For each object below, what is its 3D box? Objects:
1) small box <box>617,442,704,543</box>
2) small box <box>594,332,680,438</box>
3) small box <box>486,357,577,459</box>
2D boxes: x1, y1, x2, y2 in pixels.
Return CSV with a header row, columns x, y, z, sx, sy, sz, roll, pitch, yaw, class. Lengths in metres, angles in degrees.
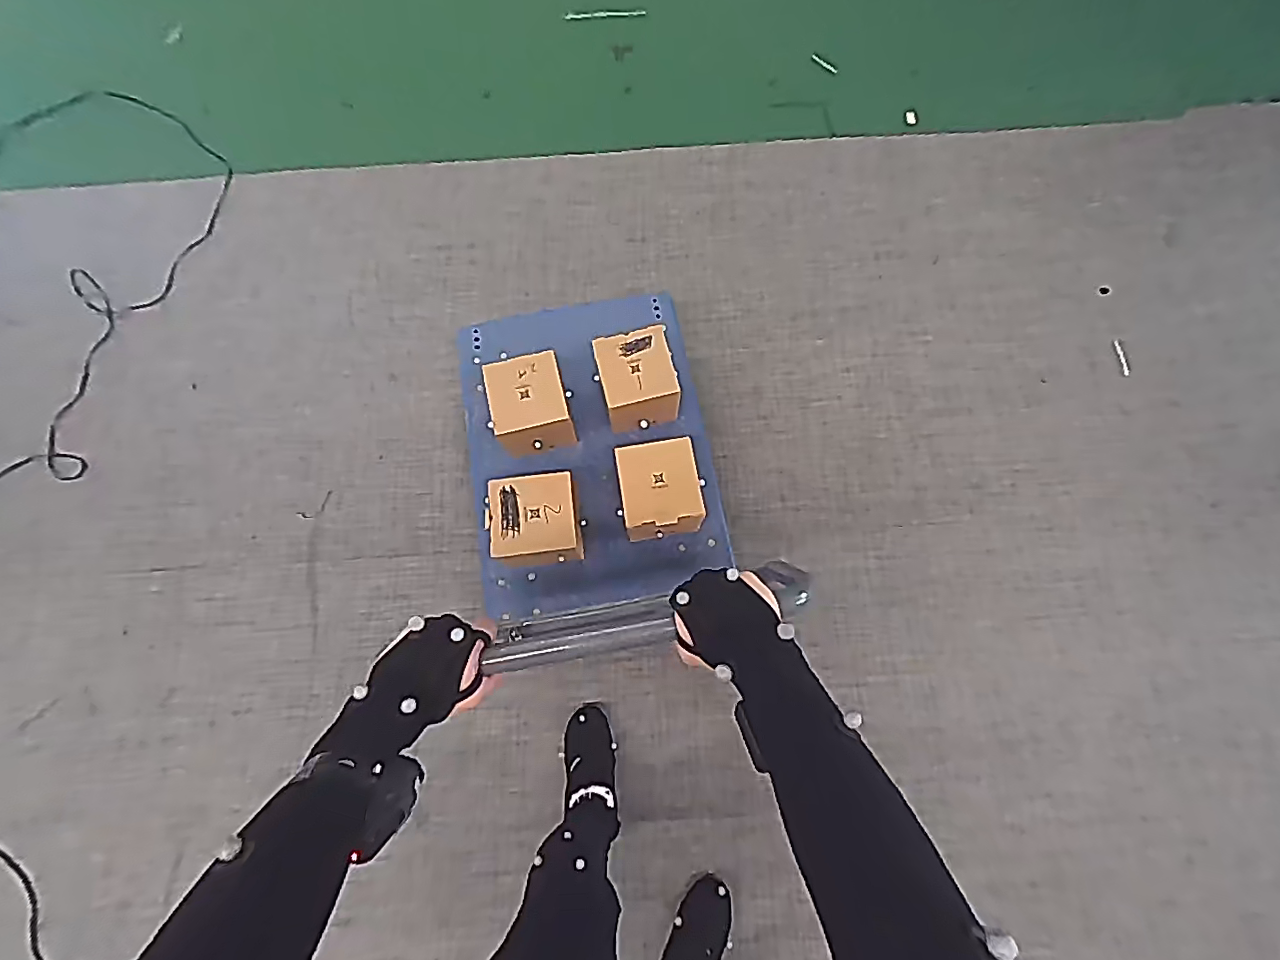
x,y,z,sx,sy,sz,roll,pitch,yaw,class
0.042,0.032,1.224,0.168,0.176,0.179,-9,74,-2,small box
-0.008,-0.222,1.300,0.168,0.176,0.179,-14,74,-2,small box
-0.252,-0.161,1.286,0.168,0.176,0.179,-14,73,-4,small box
